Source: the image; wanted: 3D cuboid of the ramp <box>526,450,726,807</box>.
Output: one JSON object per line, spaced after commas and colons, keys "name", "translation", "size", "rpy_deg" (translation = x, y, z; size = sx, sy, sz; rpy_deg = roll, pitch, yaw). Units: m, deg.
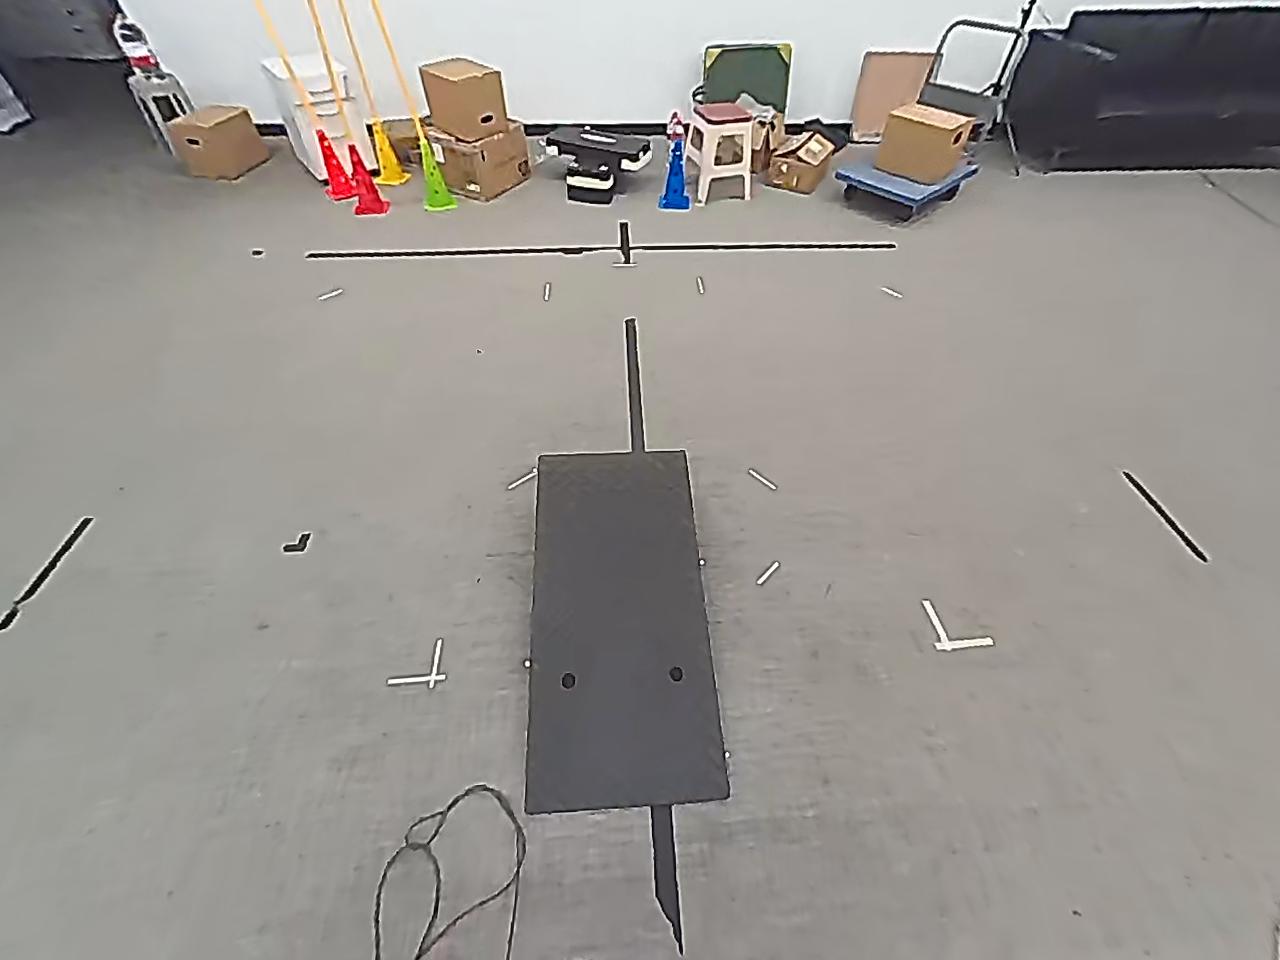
{"name": "ramp", "translation": [-0.058, 0.338, 1.547], "size": [0.509, 0.206, 0.991], "rpy_deg": [-3, 50, -5]}
